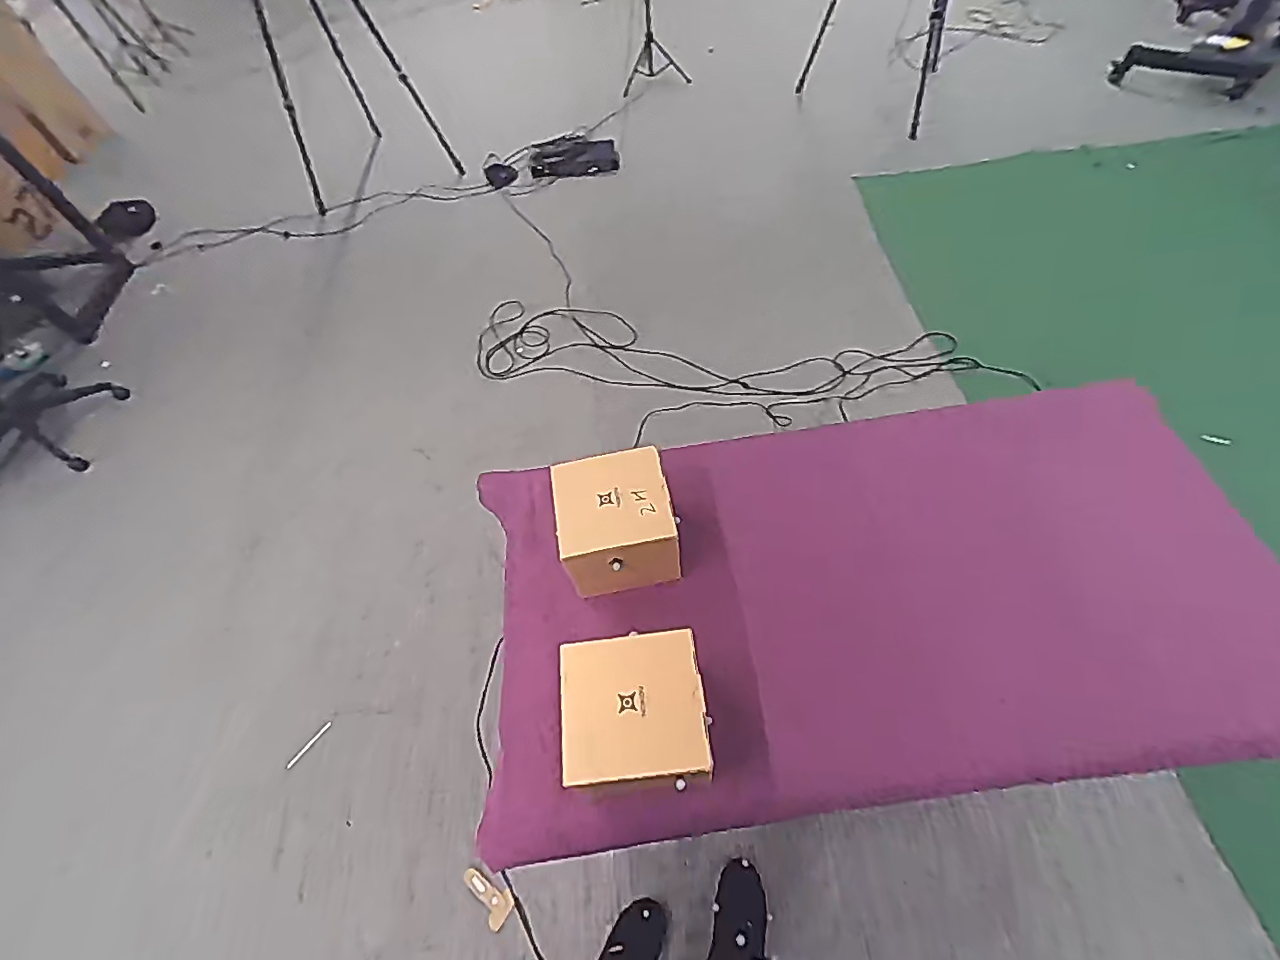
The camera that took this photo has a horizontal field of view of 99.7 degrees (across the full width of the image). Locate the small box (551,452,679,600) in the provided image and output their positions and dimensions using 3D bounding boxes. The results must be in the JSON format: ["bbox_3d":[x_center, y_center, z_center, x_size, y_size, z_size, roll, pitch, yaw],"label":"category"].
[{"bbox_3d":[-0.037,0.081,0.878,0.179,0.176,0.168,-10,57,-1],"label":"small box"}]

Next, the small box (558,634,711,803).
[{"bbox_3d":[-0.005,0.321,0.718,0.179,0.176,0.168,-7,55,0],"label":"small box"}]
